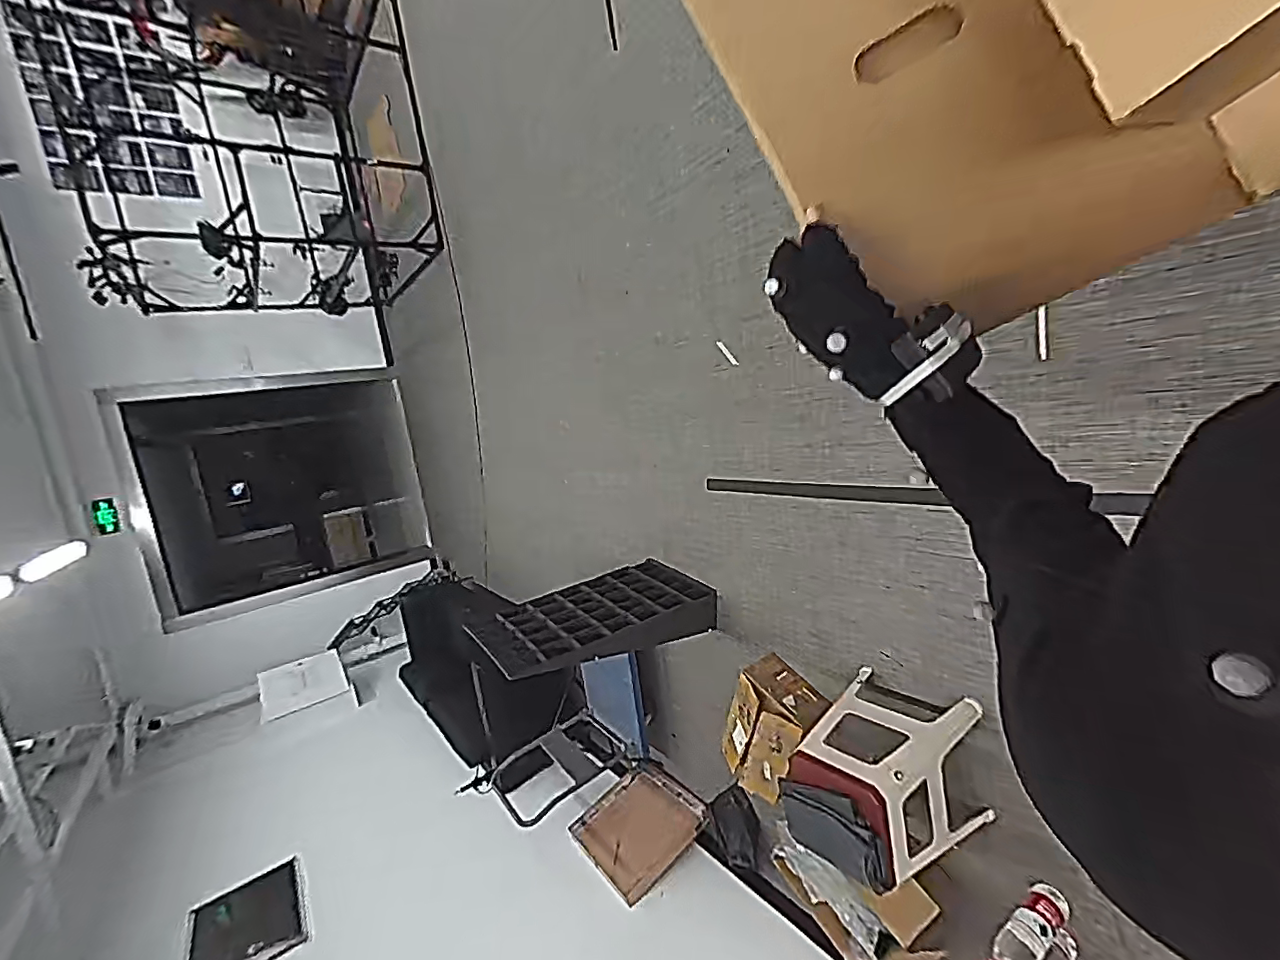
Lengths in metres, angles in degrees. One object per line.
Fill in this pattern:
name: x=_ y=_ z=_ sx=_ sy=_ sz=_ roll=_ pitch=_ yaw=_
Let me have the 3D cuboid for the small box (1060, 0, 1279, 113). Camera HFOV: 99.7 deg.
small box: x=0.368 y=-0.349 z=0.303 sx=0.168 sy=0.176 sz=0.179 roll=67 pitch=154 yaw=4
